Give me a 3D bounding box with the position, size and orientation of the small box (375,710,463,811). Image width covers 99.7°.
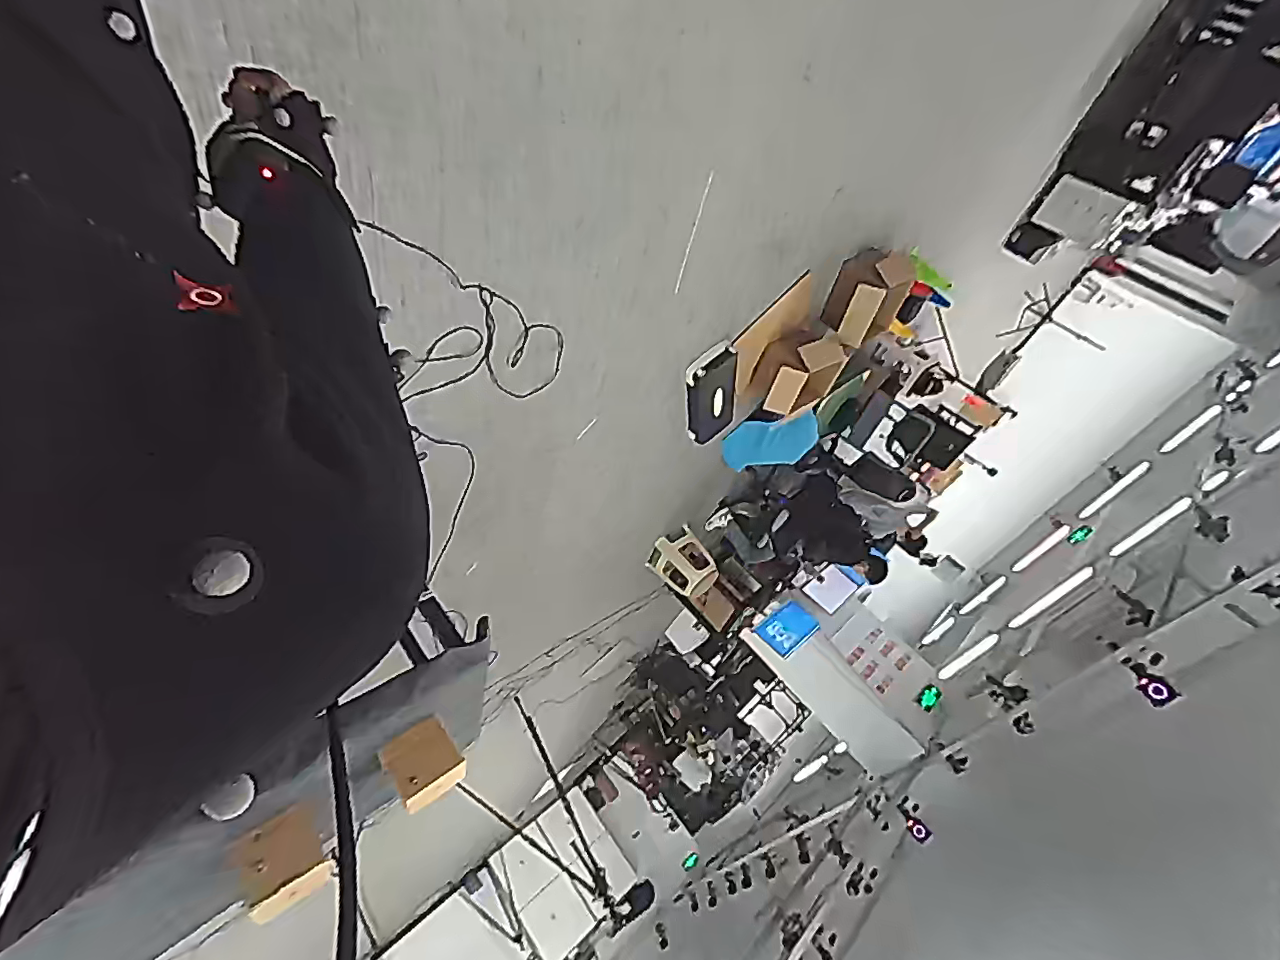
[{"bbox_3d":[-0.632,0.800,1.554,0.179,0.176,0.168,-25,150,-36],"label":"small box"}]

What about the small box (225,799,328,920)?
[{"bbox_3d":[-0.904,0.939,1.348,0.168,0.176,0.179,-21,148,-40],"label":"small box"}]
